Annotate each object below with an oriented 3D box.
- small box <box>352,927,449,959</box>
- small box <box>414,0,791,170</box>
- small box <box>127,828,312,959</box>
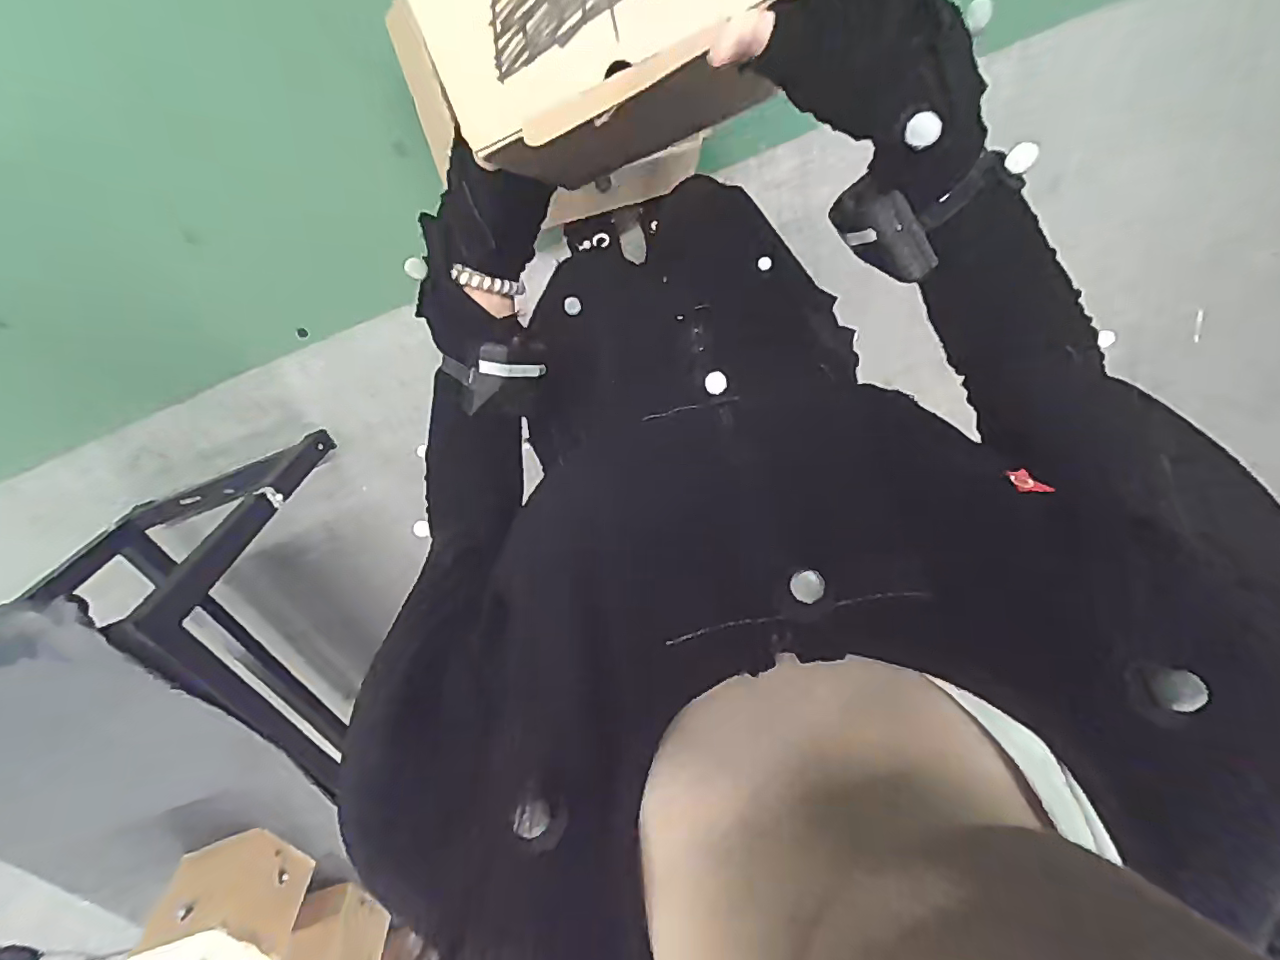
[{"bbox_3d":[-0.567,1.174,1.237,0.179,0.176,0.168,-22,119,6],"label":"small box"},{"bbox_3d":[-0.021,-0.289,0.290,0.168,0.176,0.179,-16,109,17],"label":"small box"},{"bbox_3d":[-0.762,0.792,1.005,0.179,0.176,0.168,-22,119,4],"label":"small box"}]
